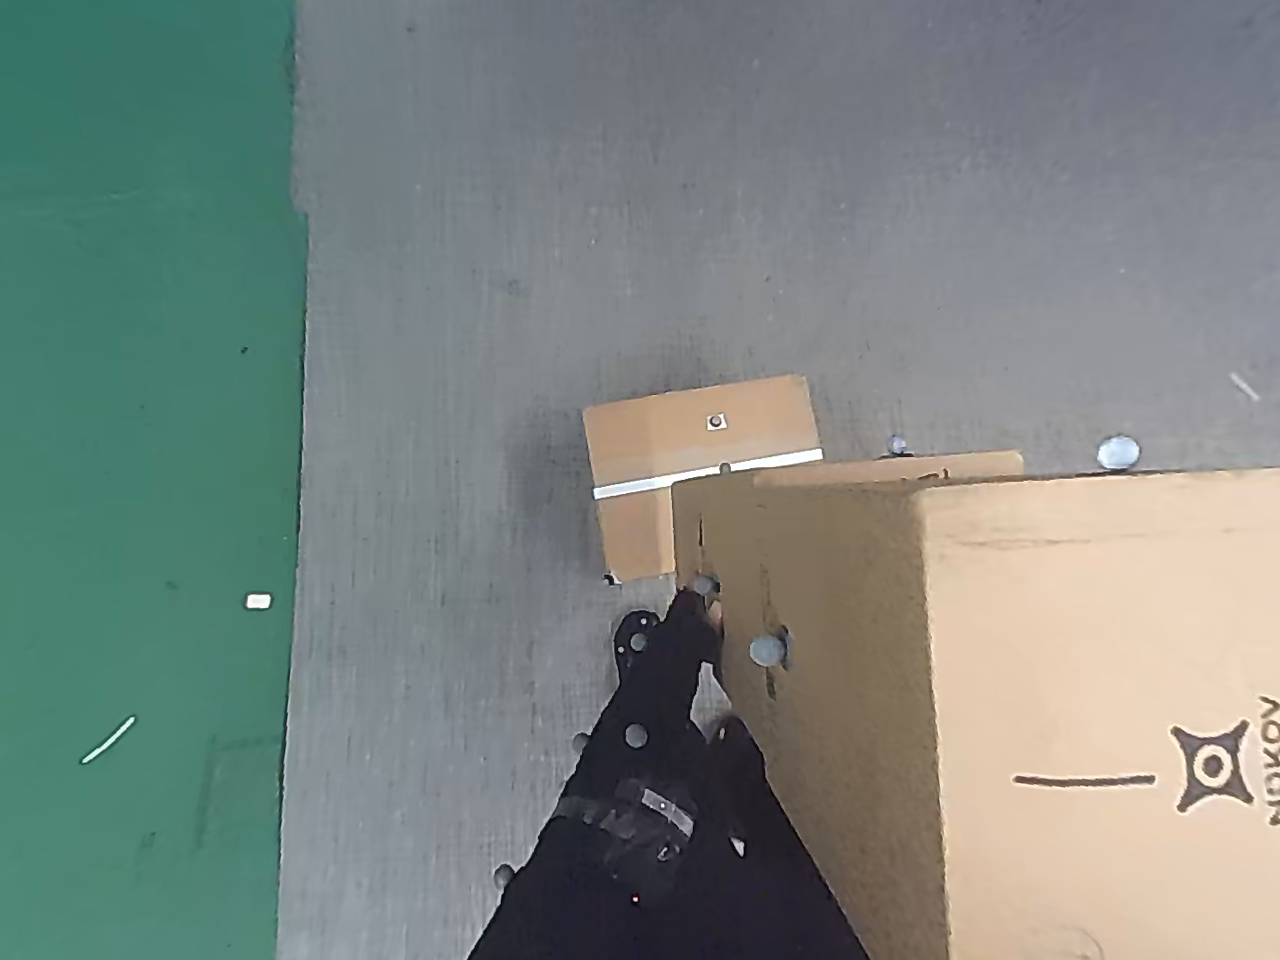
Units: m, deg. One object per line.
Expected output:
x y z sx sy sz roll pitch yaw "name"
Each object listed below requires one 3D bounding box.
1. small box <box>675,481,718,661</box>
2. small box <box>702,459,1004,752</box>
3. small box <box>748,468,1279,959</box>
0.134 0.082 0.576 0.179 0.176 0.168 -3 88 -6 "small box"
0.145 0.078 0.412 0.168 0.176 0.179 -4 89 -4 "small box"
0.160 0.081 0.247 0.179 0.176 0.168 -3 87 -3 "small box"
